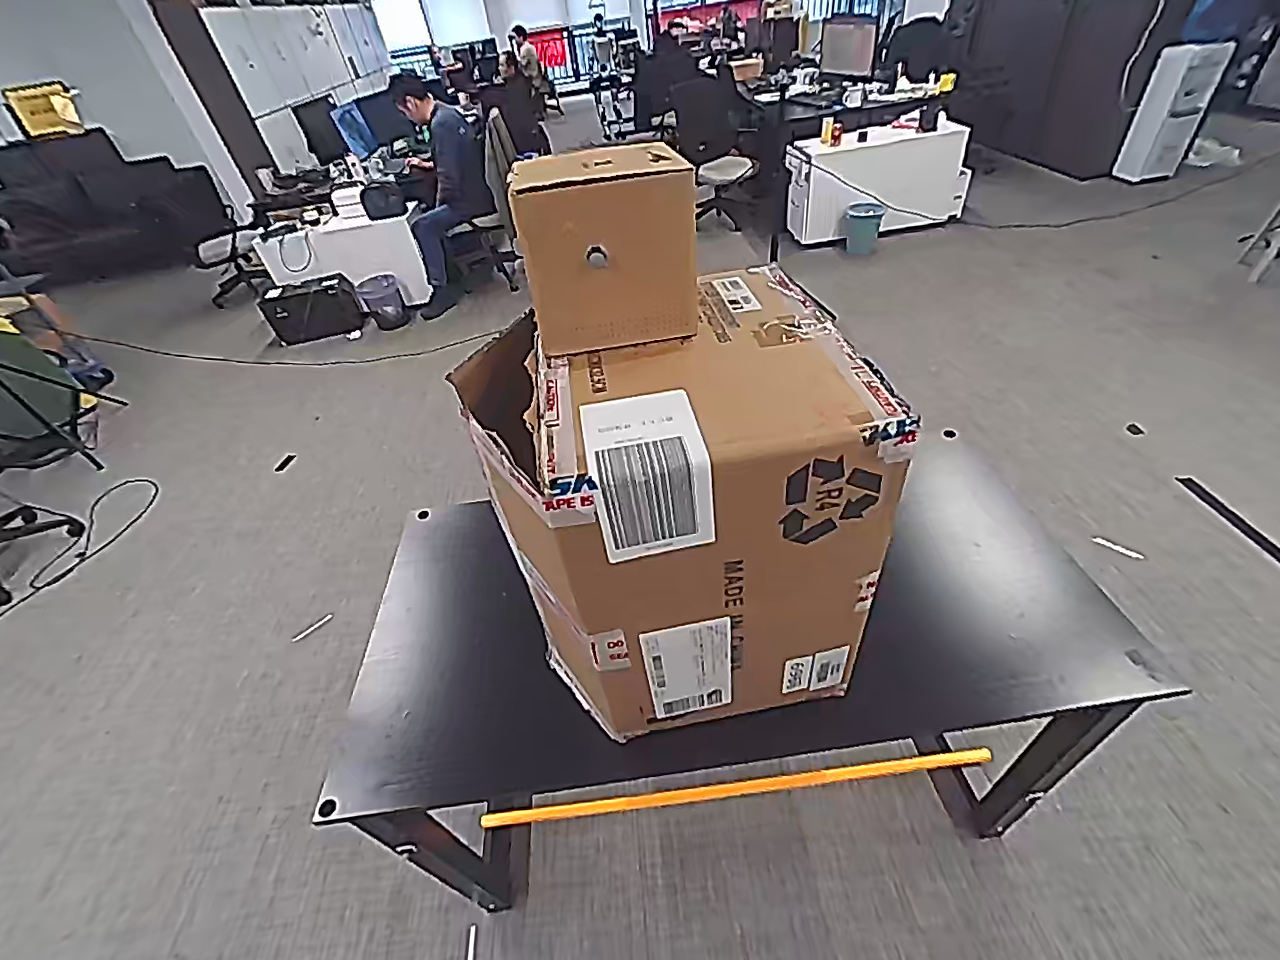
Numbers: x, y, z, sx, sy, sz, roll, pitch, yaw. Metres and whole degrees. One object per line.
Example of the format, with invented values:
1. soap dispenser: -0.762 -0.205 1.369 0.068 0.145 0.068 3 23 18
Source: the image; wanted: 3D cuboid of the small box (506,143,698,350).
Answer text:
1. small box: -0.039 -0.261 0.608 0.179 0.176 0.168 -10 40 -3
